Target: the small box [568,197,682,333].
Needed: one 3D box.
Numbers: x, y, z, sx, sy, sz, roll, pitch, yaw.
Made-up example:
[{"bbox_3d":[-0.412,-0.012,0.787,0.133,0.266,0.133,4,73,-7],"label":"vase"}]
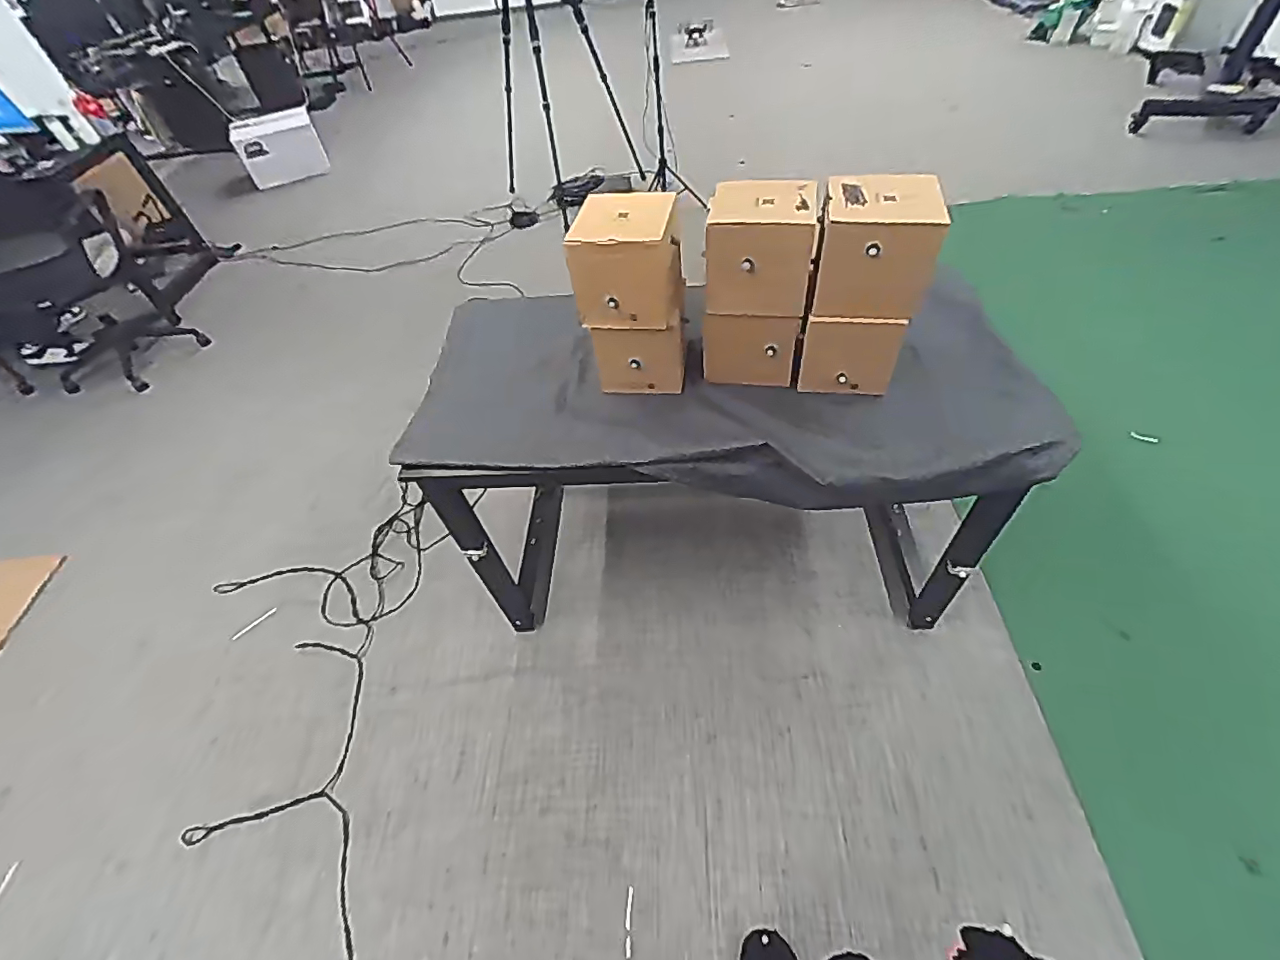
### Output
[{"bbox_3d":[-0.017,-0.391,0.987,0.168,0.176,0.179,4,53,12],"label":"small box"}]
